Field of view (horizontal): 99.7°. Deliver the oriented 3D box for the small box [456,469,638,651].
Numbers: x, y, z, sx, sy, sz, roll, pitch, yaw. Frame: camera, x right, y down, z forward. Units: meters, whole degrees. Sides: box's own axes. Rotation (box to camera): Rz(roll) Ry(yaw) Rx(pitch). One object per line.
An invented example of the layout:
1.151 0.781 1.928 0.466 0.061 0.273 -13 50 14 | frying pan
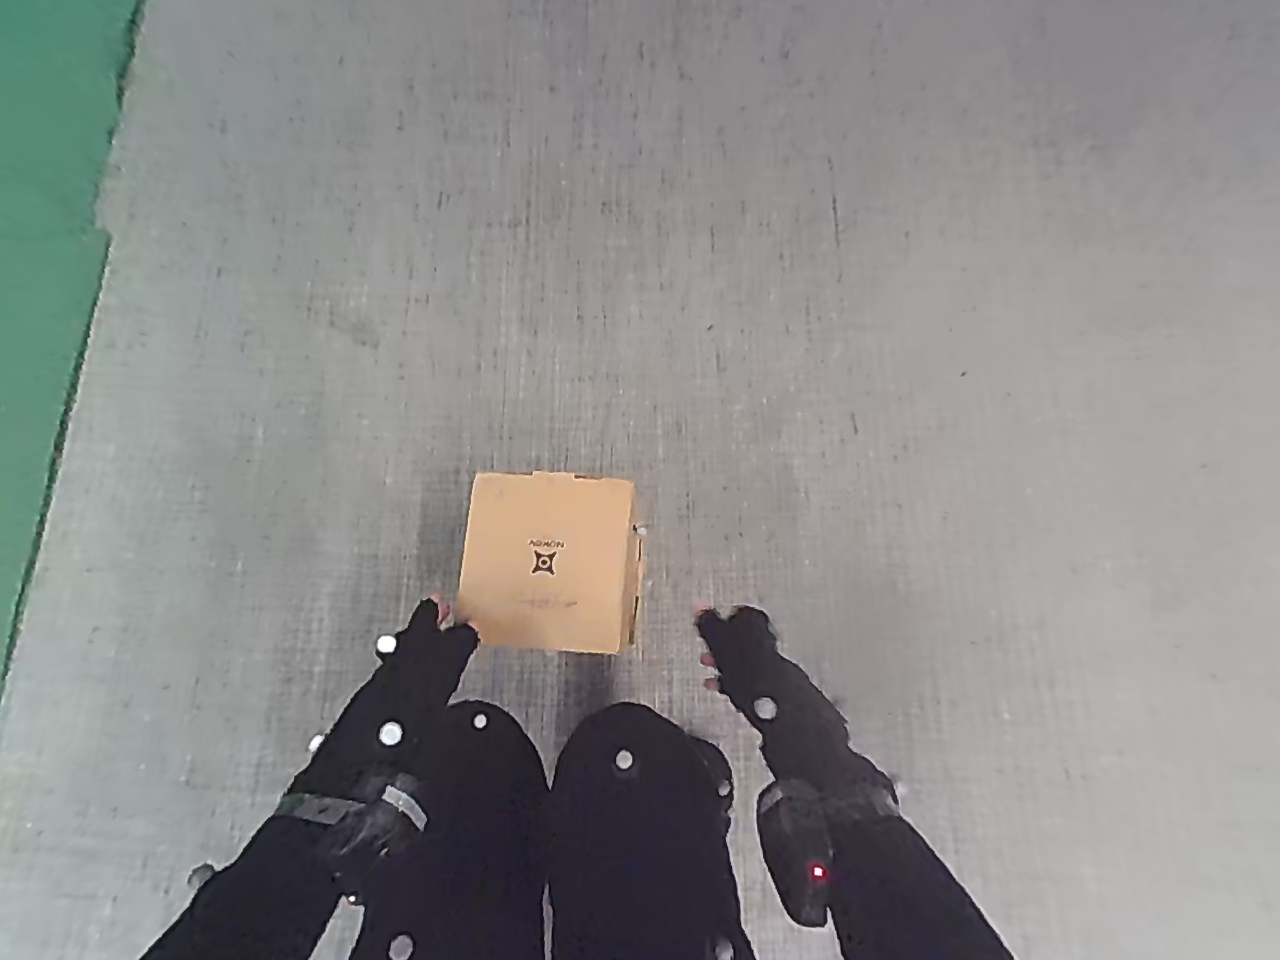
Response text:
-0.091 0.097 0.625 0.168 0.176 0.179 3 76 4 | small box
